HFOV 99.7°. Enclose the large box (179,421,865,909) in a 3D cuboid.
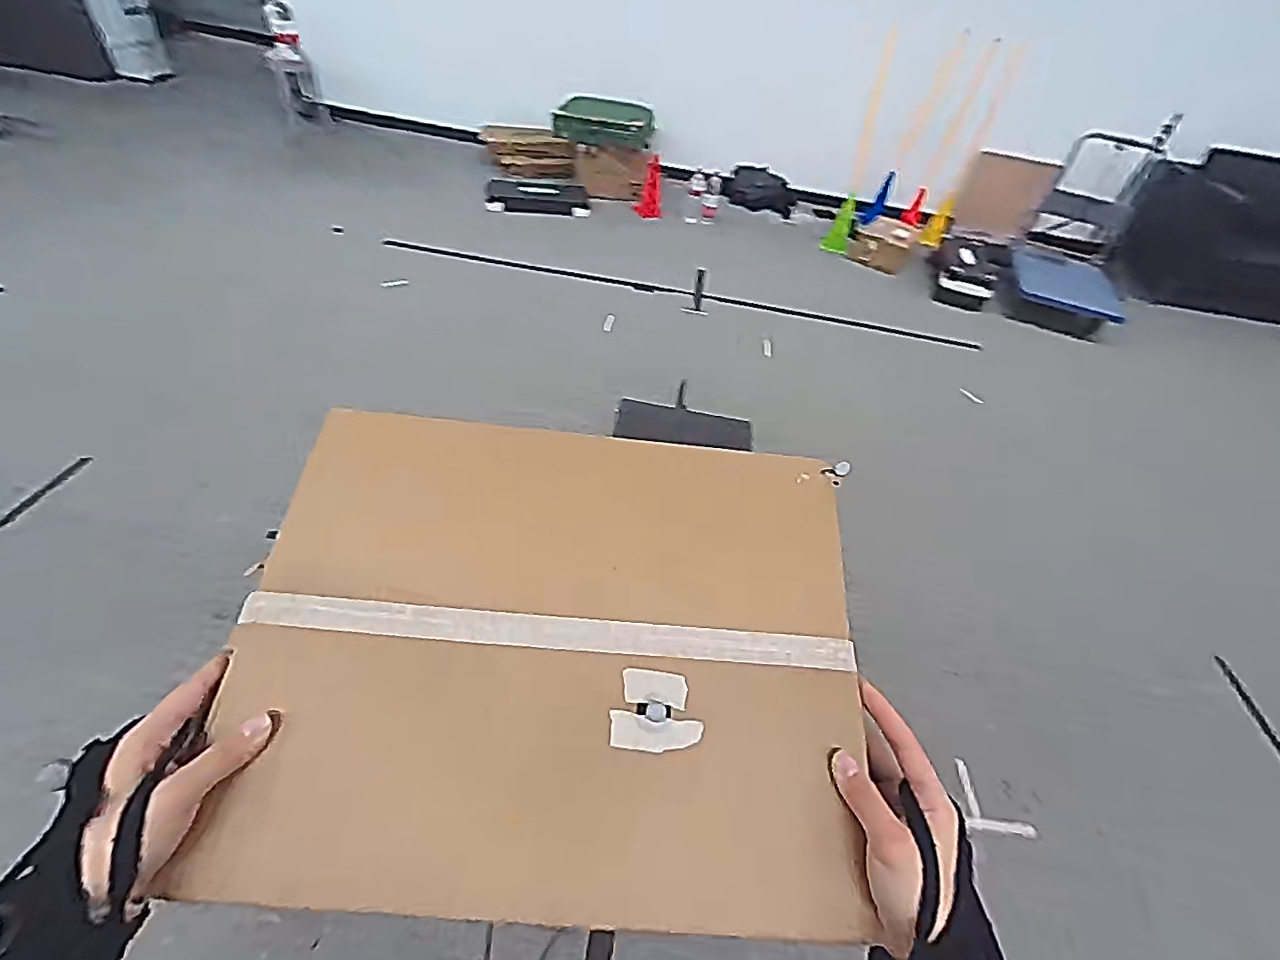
[{"bbox_3d":[-0.068,0.170,0.510,0.408,0.320,0.320,6,64,-3],"label":"large box"}]
